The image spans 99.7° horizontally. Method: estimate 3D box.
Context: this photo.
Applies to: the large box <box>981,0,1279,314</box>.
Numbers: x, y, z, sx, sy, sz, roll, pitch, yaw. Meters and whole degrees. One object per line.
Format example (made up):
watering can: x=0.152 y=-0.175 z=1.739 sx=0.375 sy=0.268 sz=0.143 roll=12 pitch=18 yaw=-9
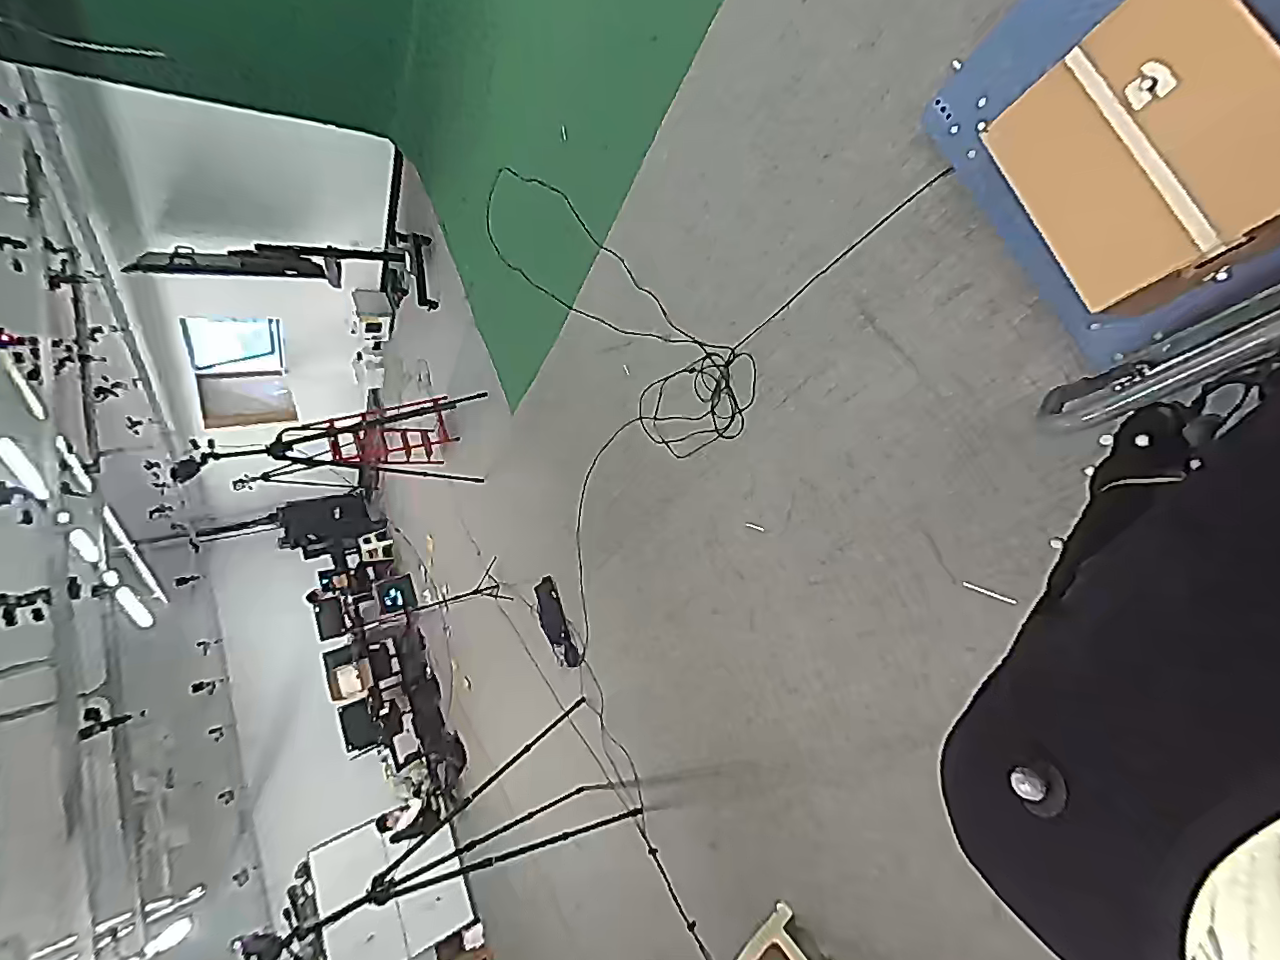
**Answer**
large box: x=0.896 y=-0.543 z=0.926 sx=0.320 sy=0.320 sz=0.408 roll=-37 pitch=69 yaw=51
